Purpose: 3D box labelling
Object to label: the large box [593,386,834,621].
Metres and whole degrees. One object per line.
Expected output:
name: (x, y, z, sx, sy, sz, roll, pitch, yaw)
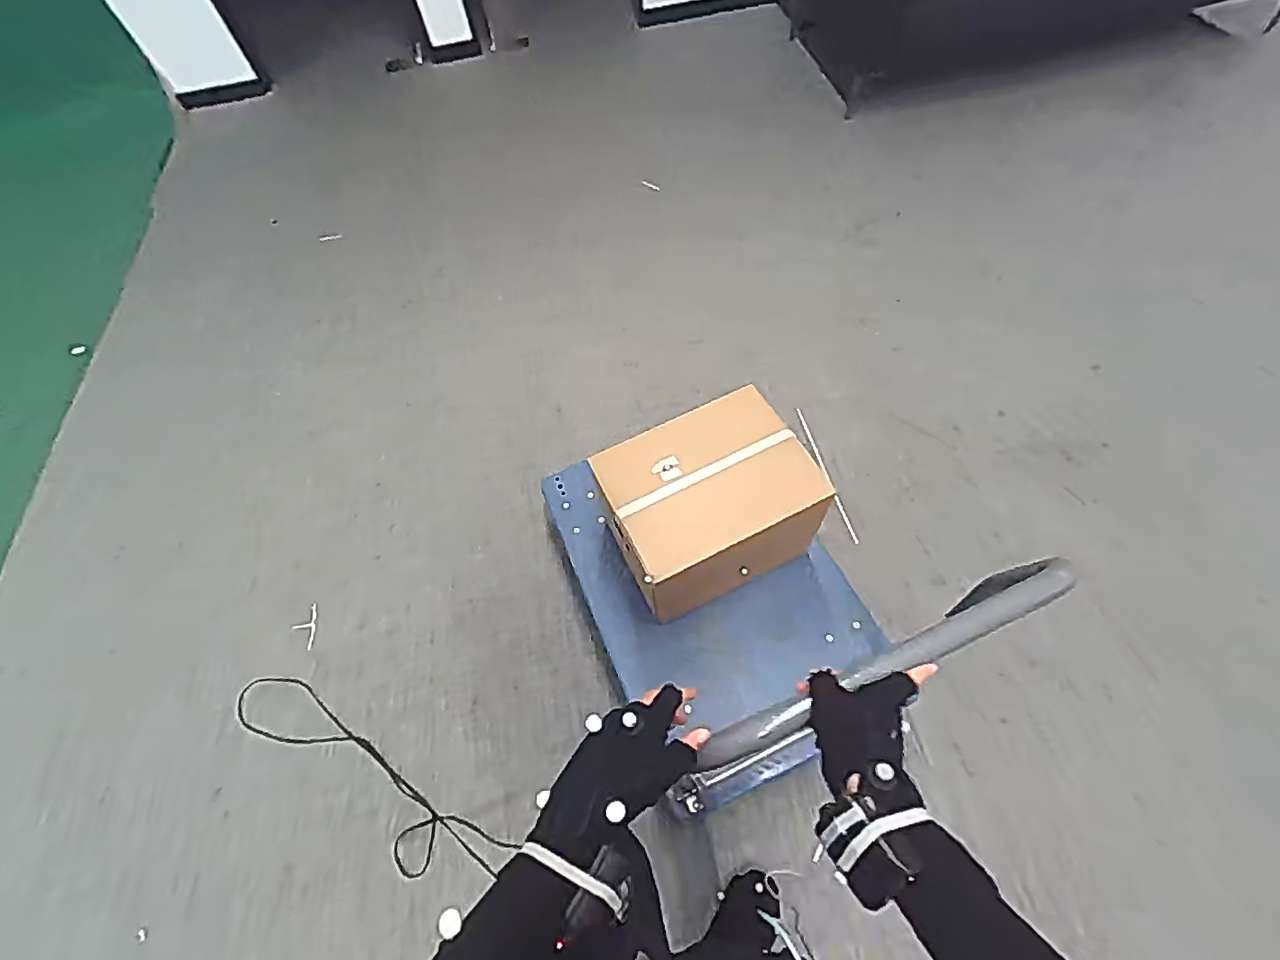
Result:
large box: (0.157, 0.063, 1.230, 0.408, 0.320, 0.320, -27, 62, -9)
